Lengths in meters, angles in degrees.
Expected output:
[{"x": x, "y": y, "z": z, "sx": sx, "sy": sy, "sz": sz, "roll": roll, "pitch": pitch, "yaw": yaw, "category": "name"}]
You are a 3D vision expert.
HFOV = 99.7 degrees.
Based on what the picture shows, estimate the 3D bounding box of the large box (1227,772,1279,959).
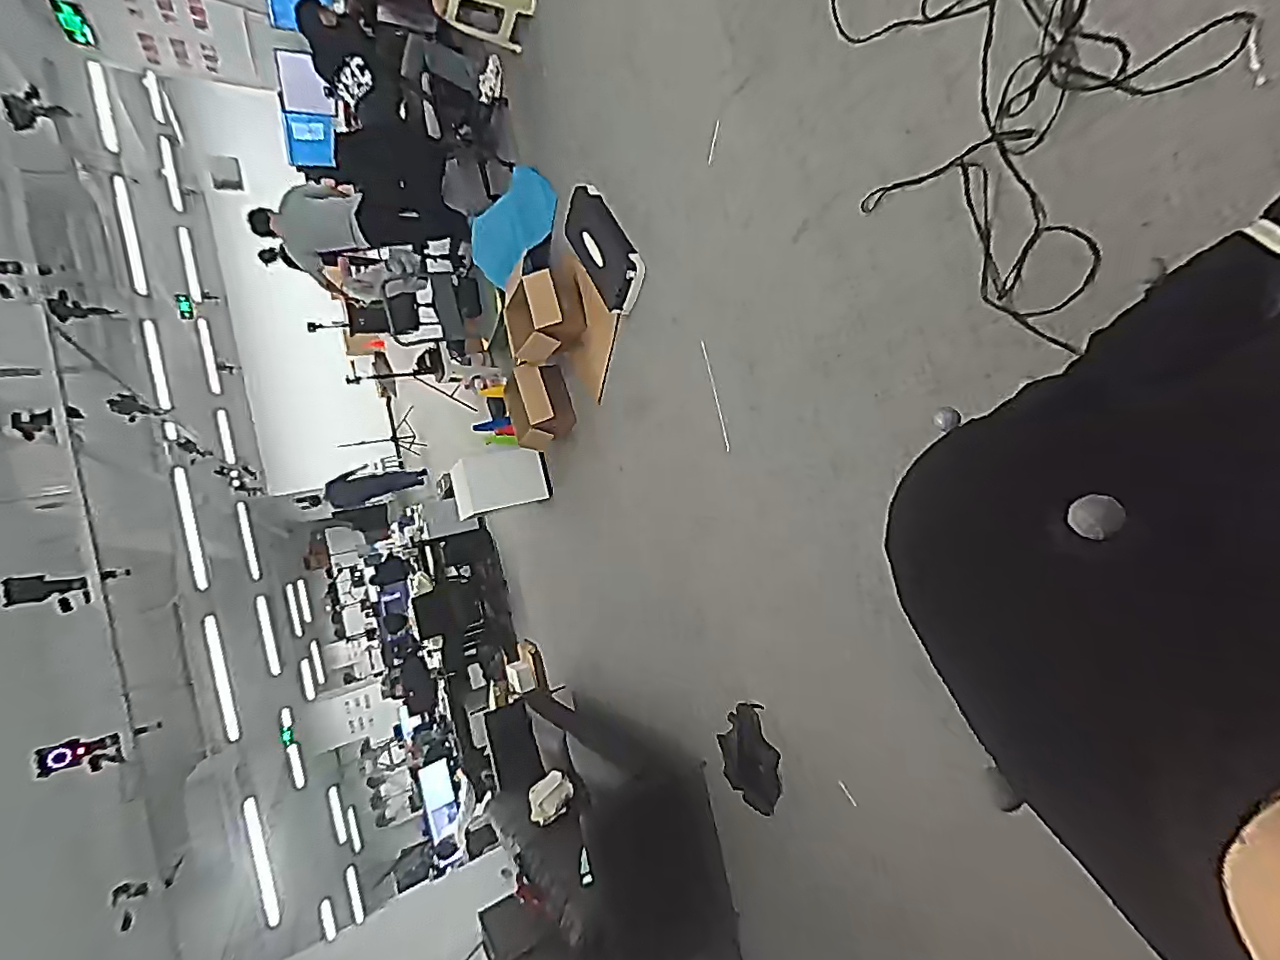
[{"x": 1.185, "y": 0.662, "z": 0.745, "sx": 0.408, "sy": 0.320, "sz": 0.320, "roll": -20, "pitch": 83, "yaw": 62, "category": "large box"}]
